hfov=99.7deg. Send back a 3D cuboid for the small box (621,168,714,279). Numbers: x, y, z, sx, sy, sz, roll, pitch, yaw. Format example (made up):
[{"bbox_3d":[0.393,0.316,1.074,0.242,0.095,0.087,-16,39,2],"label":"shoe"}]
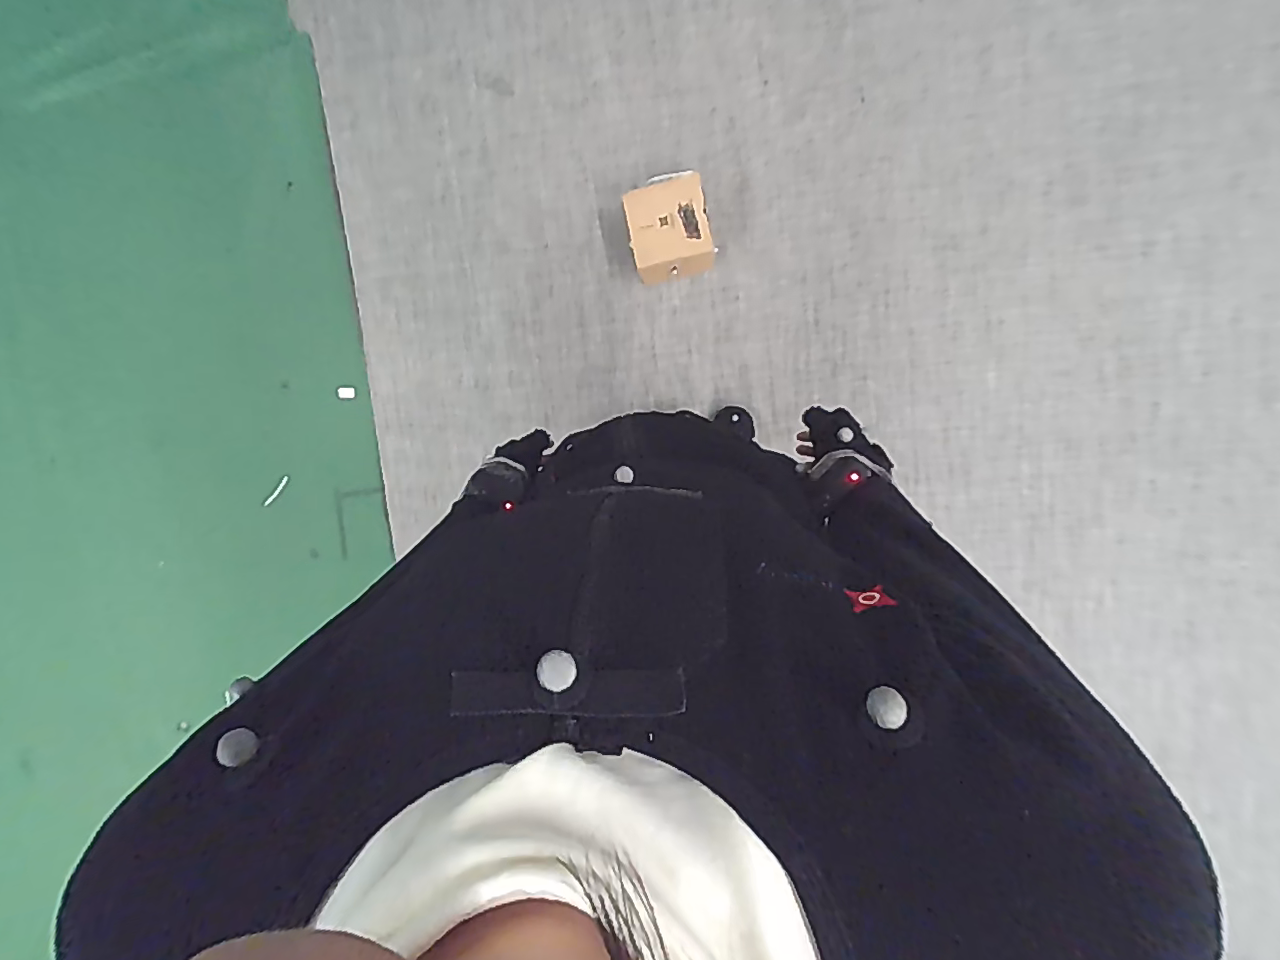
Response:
[{"bbox_3d":[0.068,-0.588,1.261,0.179,0.176,0.168,-14,97,9],"label":"small box"}]
